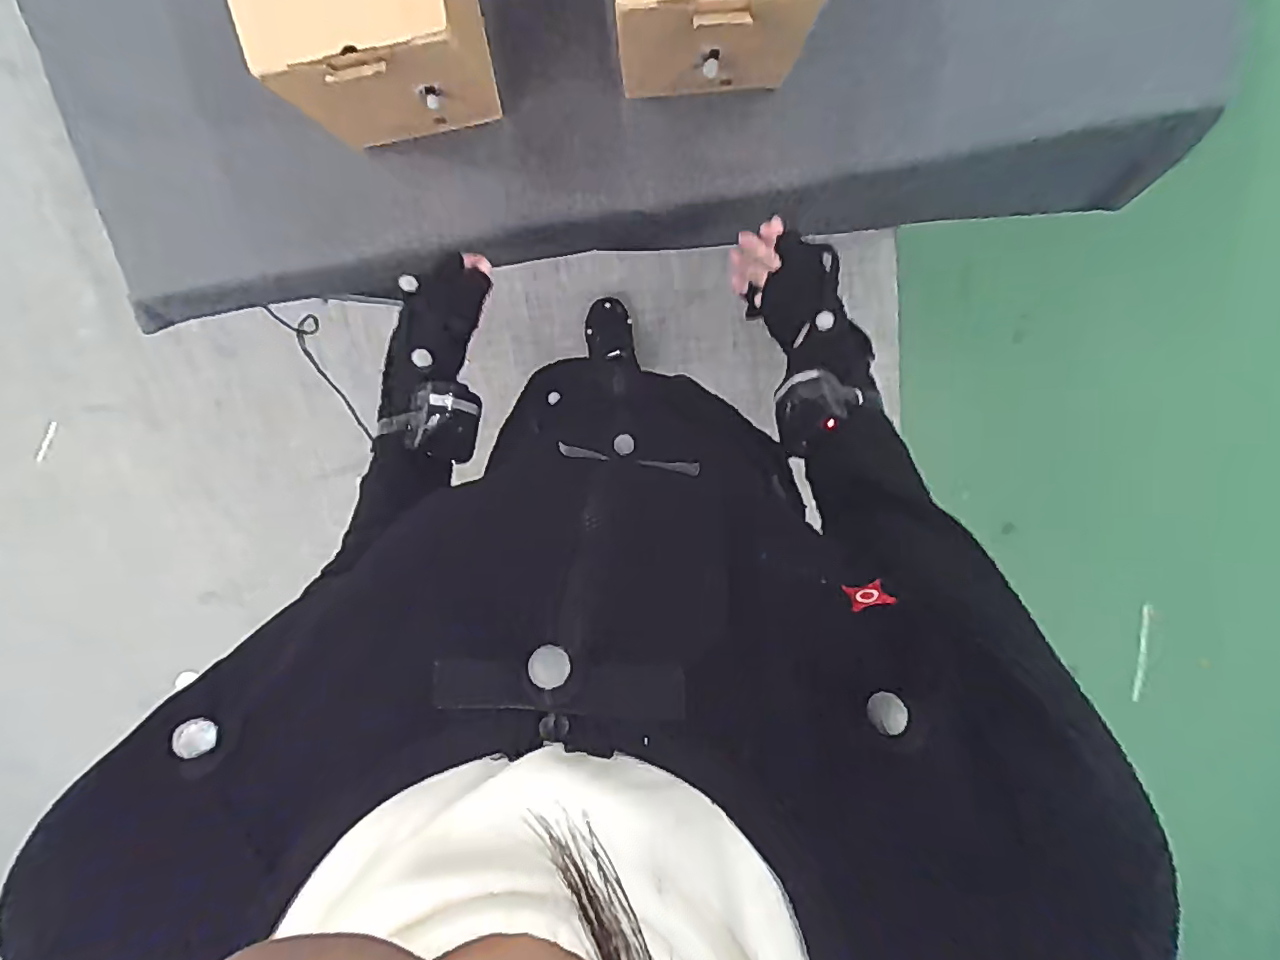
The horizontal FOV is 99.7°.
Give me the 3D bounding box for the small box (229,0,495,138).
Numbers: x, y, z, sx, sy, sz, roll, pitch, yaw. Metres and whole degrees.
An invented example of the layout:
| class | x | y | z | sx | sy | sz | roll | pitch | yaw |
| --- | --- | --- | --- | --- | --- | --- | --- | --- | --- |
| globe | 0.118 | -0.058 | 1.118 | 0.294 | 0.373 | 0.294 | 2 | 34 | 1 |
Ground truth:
| class | x | y | z | sx | sy | sz | roll | pitch | yaw |
| --- | --- | --- | --- | --- | --- | --- | --- | --- | --- |
| small box | -0.246 | -0.440 | 0.490 | 0.168 | 0.176 | 0.179 | -10 | 103 | 3 |
